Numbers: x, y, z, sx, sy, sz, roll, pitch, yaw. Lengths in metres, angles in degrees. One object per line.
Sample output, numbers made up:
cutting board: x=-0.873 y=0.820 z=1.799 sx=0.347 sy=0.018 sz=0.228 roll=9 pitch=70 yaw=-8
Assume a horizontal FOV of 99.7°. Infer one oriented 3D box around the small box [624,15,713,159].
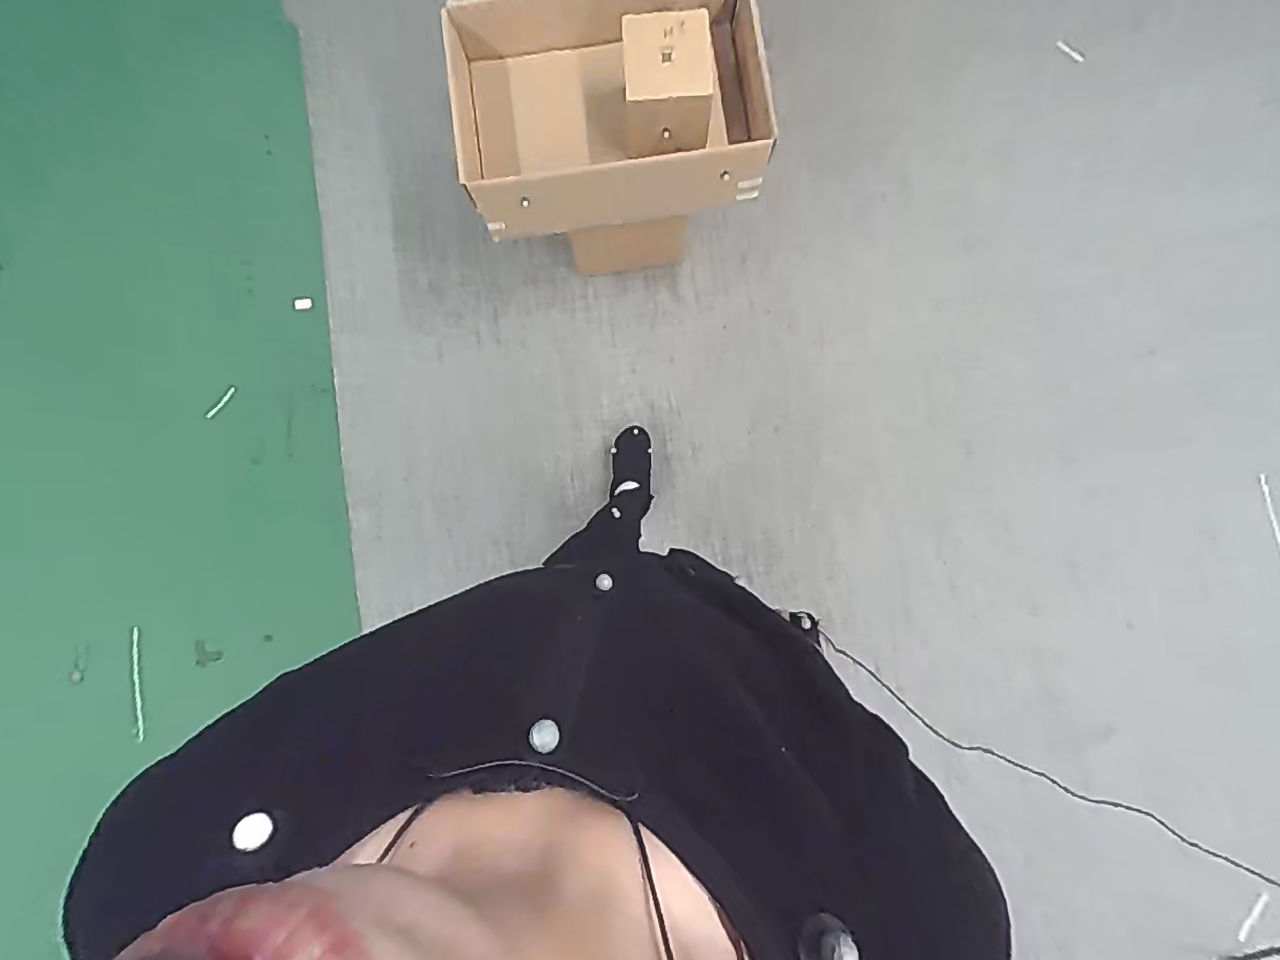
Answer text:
small box: x=0.056 y=-0.778 z=1.090 sx=0.168 sy=0.176 sz=0.179 roll=-3 pitch=85 yaw=1
